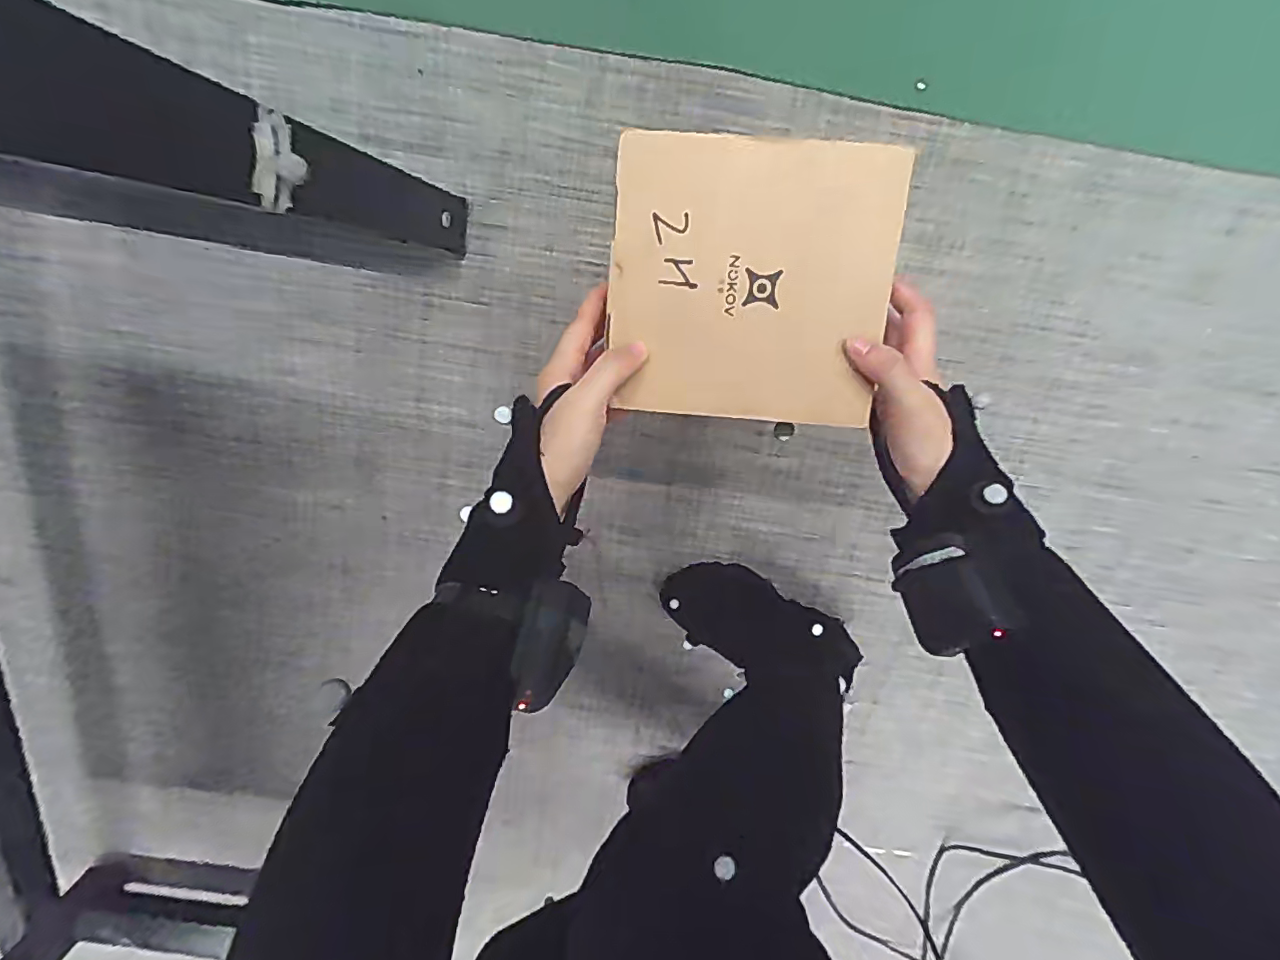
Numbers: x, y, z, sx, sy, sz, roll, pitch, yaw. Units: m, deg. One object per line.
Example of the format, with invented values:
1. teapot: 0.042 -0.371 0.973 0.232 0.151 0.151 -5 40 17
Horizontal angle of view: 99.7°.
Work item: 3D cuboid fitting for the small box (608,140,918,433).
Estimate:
1. small box: 0.077 -0.135 0.414 0.179 0.176 0.168 5 103 4
